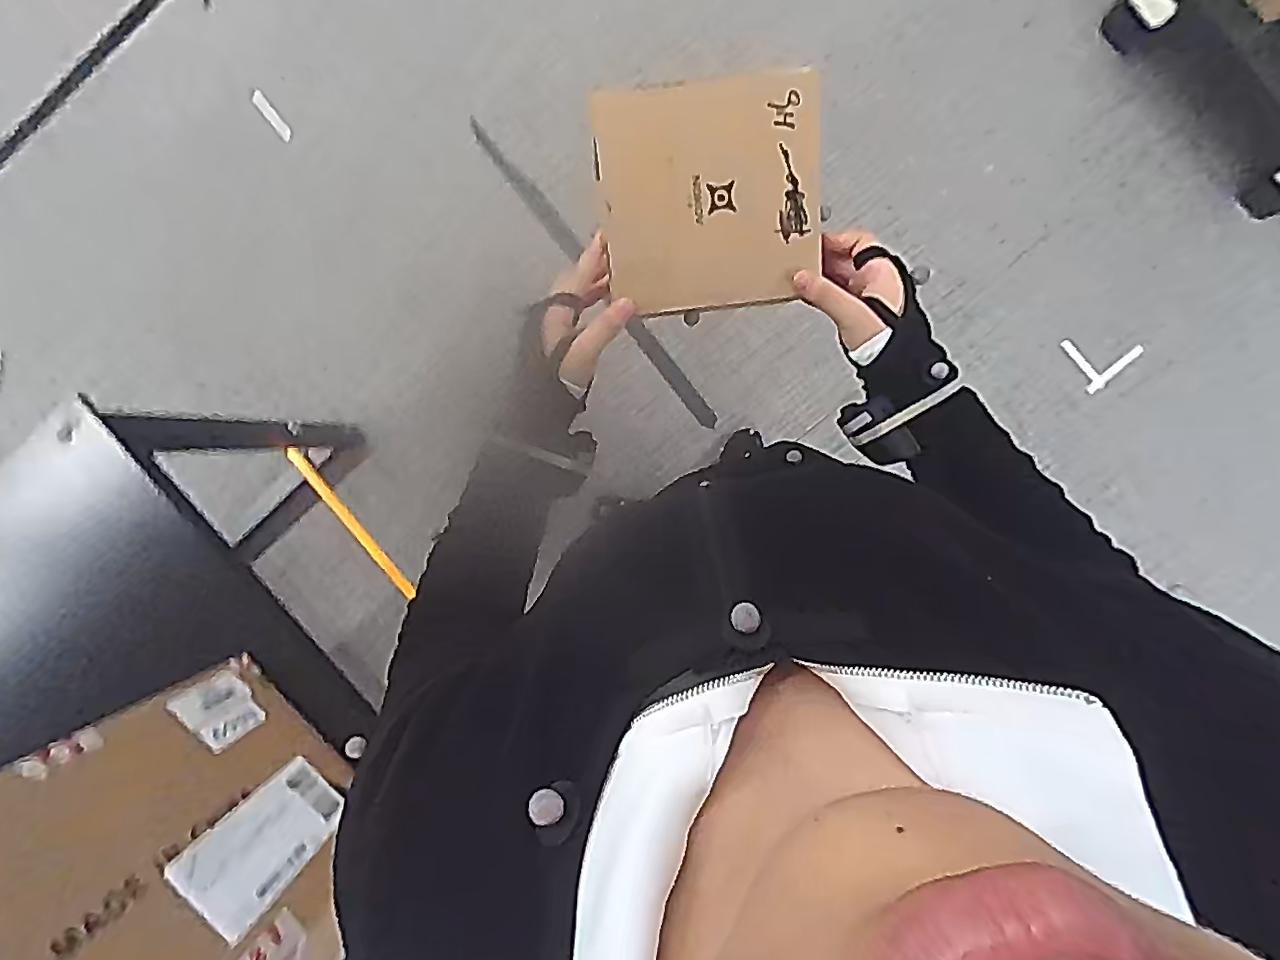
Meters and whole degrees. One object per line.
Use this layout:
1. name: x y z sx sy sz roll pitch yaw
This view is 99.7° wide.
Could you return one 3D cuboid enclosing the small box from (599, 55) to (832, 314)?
1. small box: 0.064 -0.248 0.499 0.179 0.176 0.168 -5 104 2
